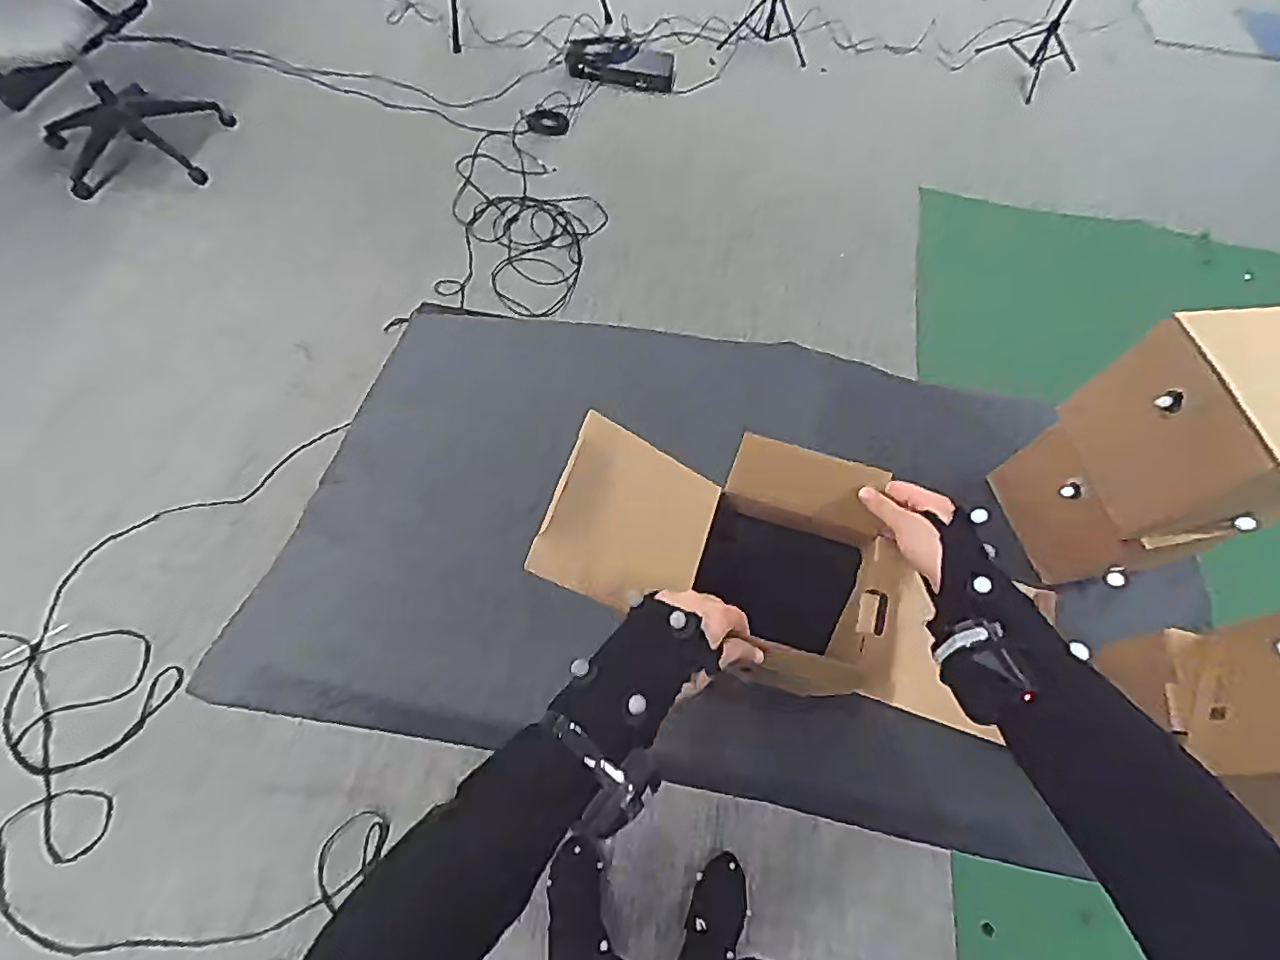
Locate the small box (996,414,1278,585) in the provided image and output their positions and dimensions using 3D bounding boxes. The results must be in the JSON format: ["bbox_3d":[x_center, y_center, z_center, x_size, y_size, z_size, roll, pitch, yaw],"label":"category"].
[{"bbox_3d":[0.612,0.020,0.699,0.168,0.176,0.179,-9,65,-4],"label":"small box"}]

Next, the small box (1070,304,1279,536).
[{"bbox_3d":[0.599,-0.056,0.553,0.168,0.176,0.179,-4,64,-1],"label":"small box"}]

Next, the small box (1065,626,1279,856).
[{"bbox_3d":[0.585,0.276,0.564,0.179,0.176,0.168,16,61,6],"label":"small box"}]

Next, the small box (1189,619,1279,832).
[{"bbox_3d":[0.592,0.210,0.414,0.179,0.176,0.168,35,64,15],"label":"small box"}]
